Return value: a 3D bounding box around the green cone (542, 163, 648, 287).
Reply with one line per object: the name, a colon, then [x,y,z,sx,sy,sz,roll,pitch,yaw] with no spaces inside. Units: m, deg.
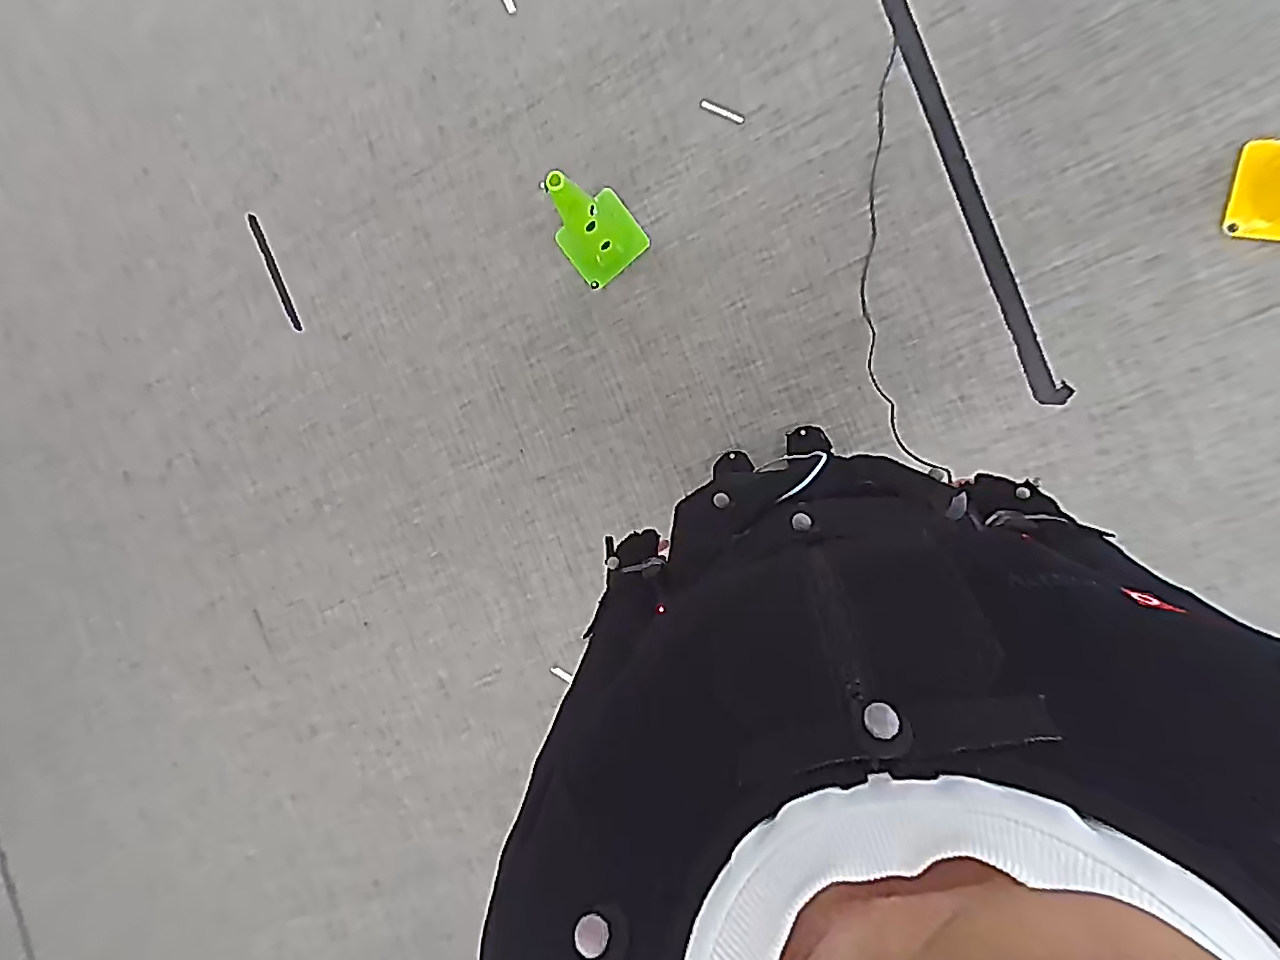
green cone: [-0.140,-0.638,1.280,0.200,0.368,0.202,-38,85,11]
